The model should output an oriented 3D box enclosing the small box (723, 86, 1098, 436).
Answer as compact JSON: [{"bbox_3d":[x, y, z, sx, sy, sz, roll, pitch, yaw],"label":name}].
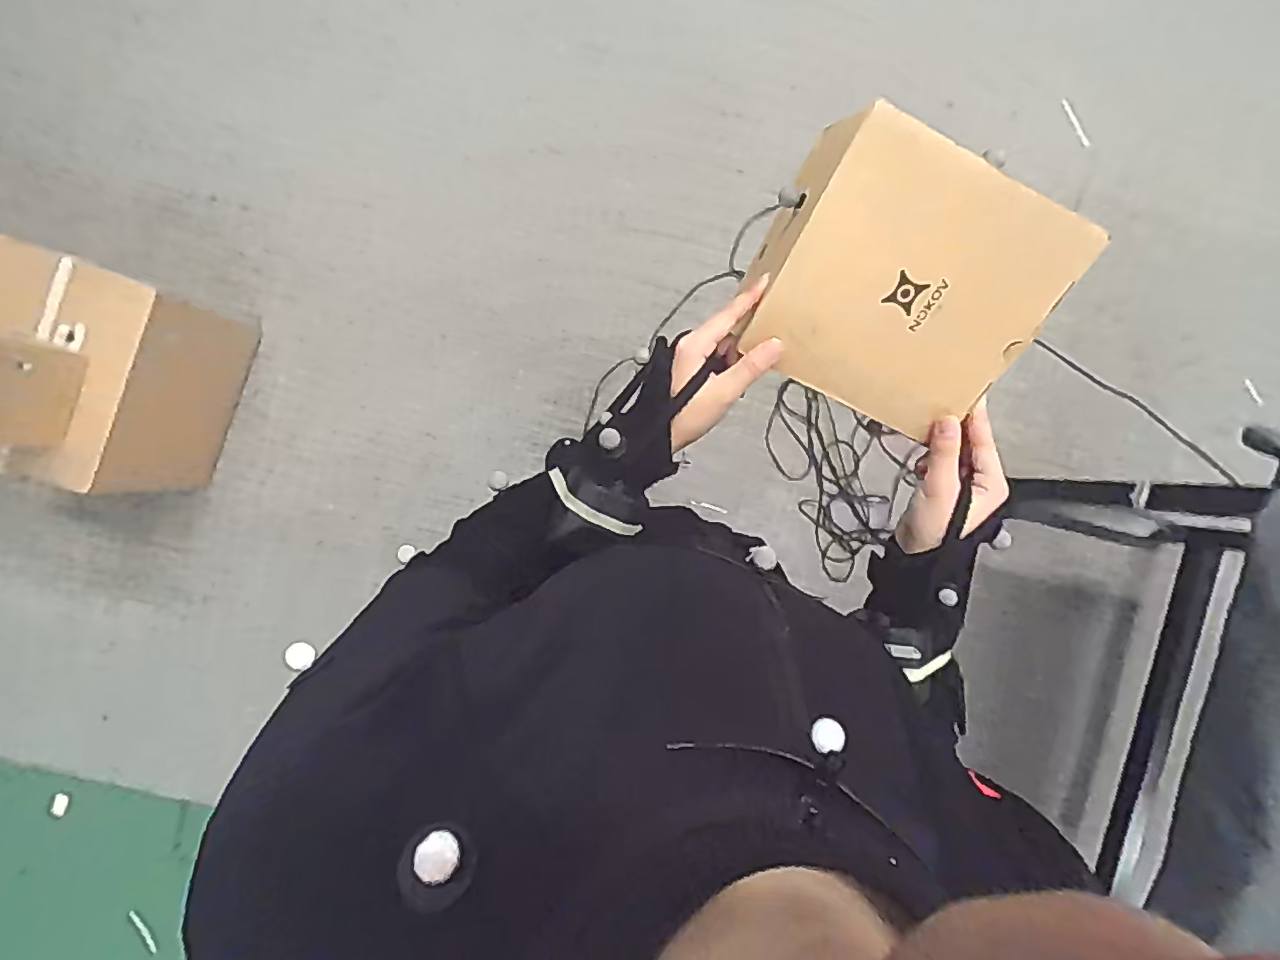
[{"bbox_3d":[0.178,-0.165,0.427,0.179,0.176,0.168,23,117,-7],"label":"small box"}]

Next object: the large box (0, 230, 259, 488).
[{"bbox_3d":[-1.091,-0.218,1.123,0.320,0.320,0.408,19,89,-5],"label":"large box"}]
